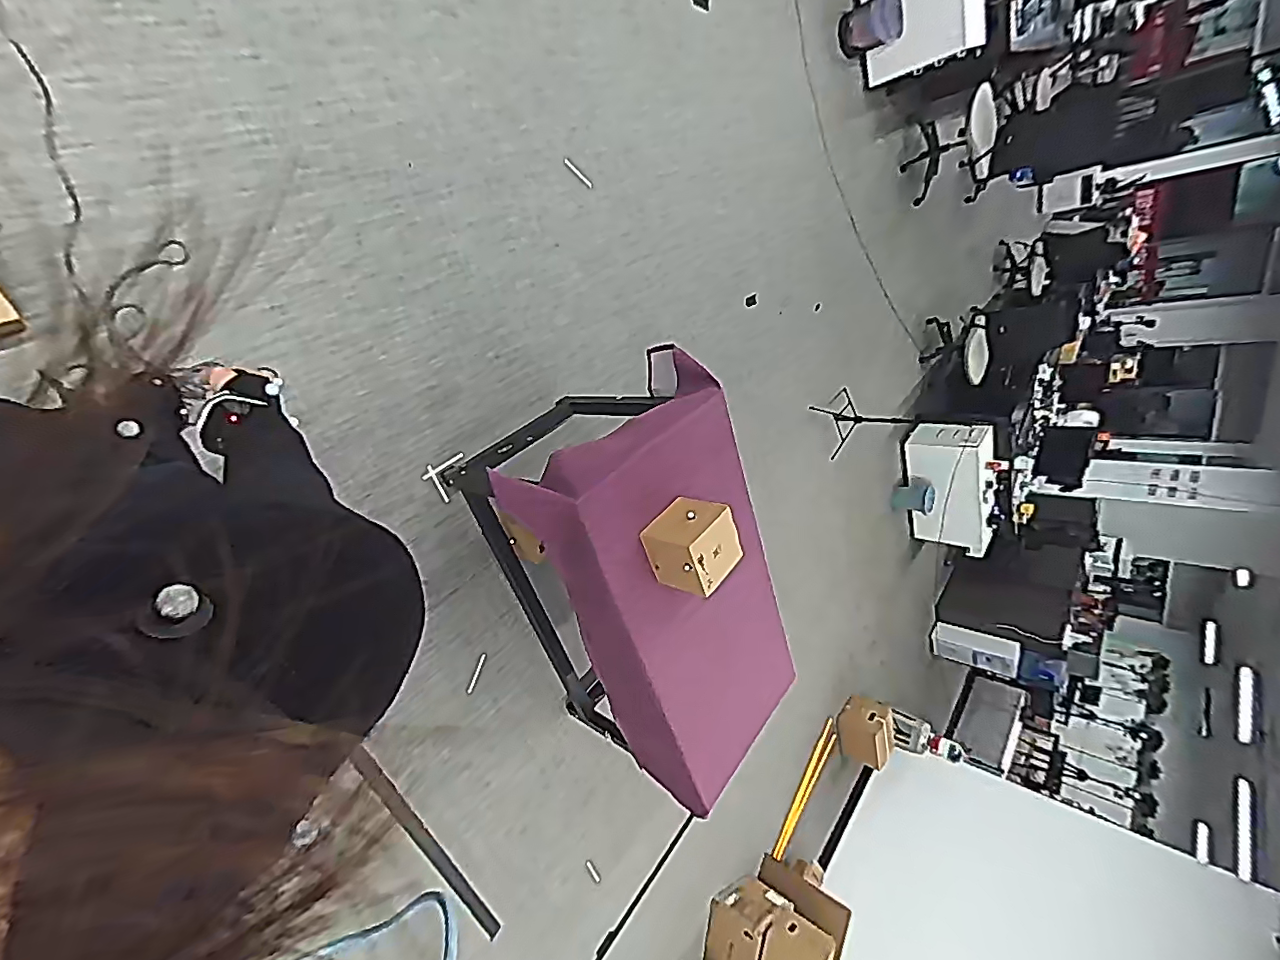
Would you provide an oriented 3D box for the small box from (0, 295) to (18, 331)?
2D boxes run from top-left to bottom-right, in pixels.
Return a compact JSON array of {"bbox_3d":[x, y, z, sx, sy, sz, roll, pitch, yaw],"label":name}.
[{"bbox_3d":[-1.262,-0.338,0.947,0.168,0.176,0.179,-37,121,-35],"label":"small box"}]

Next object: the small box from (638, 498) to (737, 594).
[{"bbox_3d":[0.124,0.163,1.405,0.179,0.176,0.168,-41,123,-35],"label":"small box"}]
